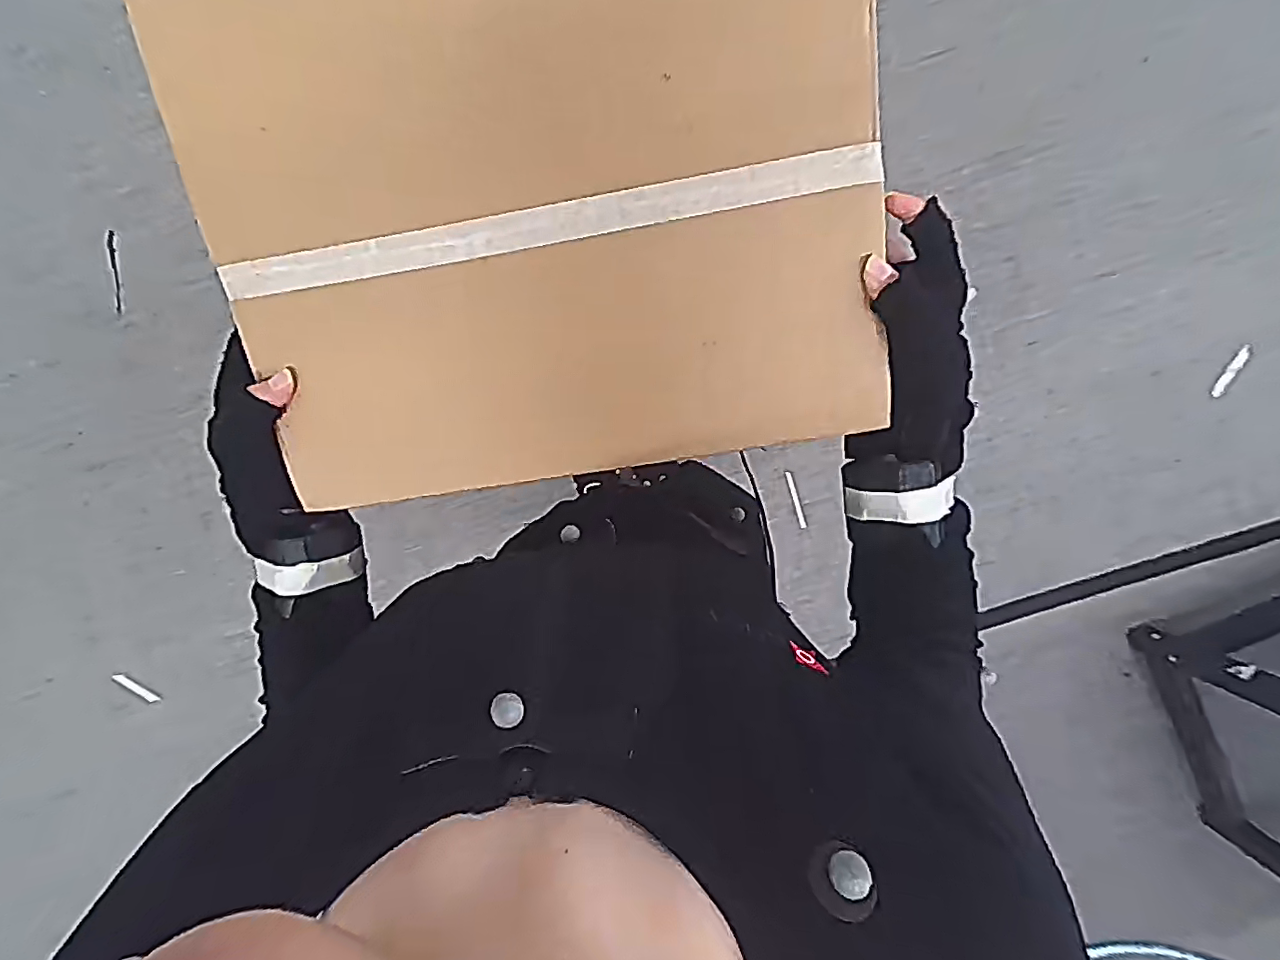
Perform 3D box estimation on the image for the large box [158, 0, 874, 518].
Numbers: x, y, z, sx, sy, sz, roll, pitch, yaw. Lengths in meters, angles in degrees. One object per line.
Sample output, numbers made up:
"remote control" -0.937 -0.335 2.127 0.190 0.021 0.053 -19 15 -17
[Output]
"large box" -0.056 -0.190 0.481 0.408 0.320 0.320 -9 105 5
